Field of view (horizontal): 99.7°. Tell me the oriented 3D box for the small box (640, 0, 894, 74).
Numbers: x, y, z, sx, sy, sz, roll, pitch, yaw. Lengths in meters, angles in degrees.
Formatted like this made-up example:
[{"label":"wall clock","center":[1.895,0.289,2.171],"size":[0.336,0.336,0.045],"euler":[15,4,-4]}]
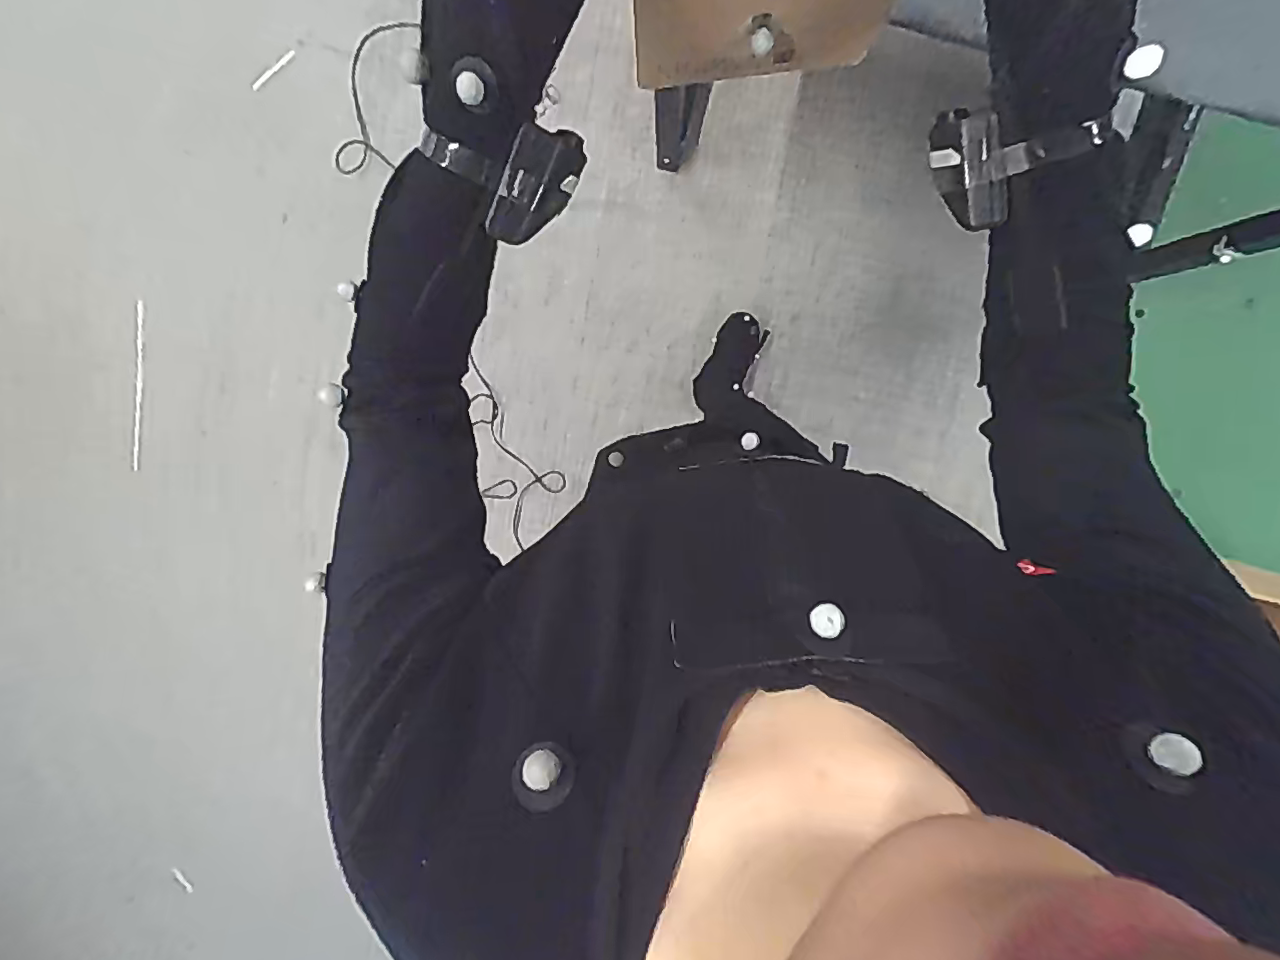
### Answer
[{"label":"small box","center":[0.076,-0.379,0.305],"size":[0.168,0.176,0.179],"euler":[-5,97,2]}]
